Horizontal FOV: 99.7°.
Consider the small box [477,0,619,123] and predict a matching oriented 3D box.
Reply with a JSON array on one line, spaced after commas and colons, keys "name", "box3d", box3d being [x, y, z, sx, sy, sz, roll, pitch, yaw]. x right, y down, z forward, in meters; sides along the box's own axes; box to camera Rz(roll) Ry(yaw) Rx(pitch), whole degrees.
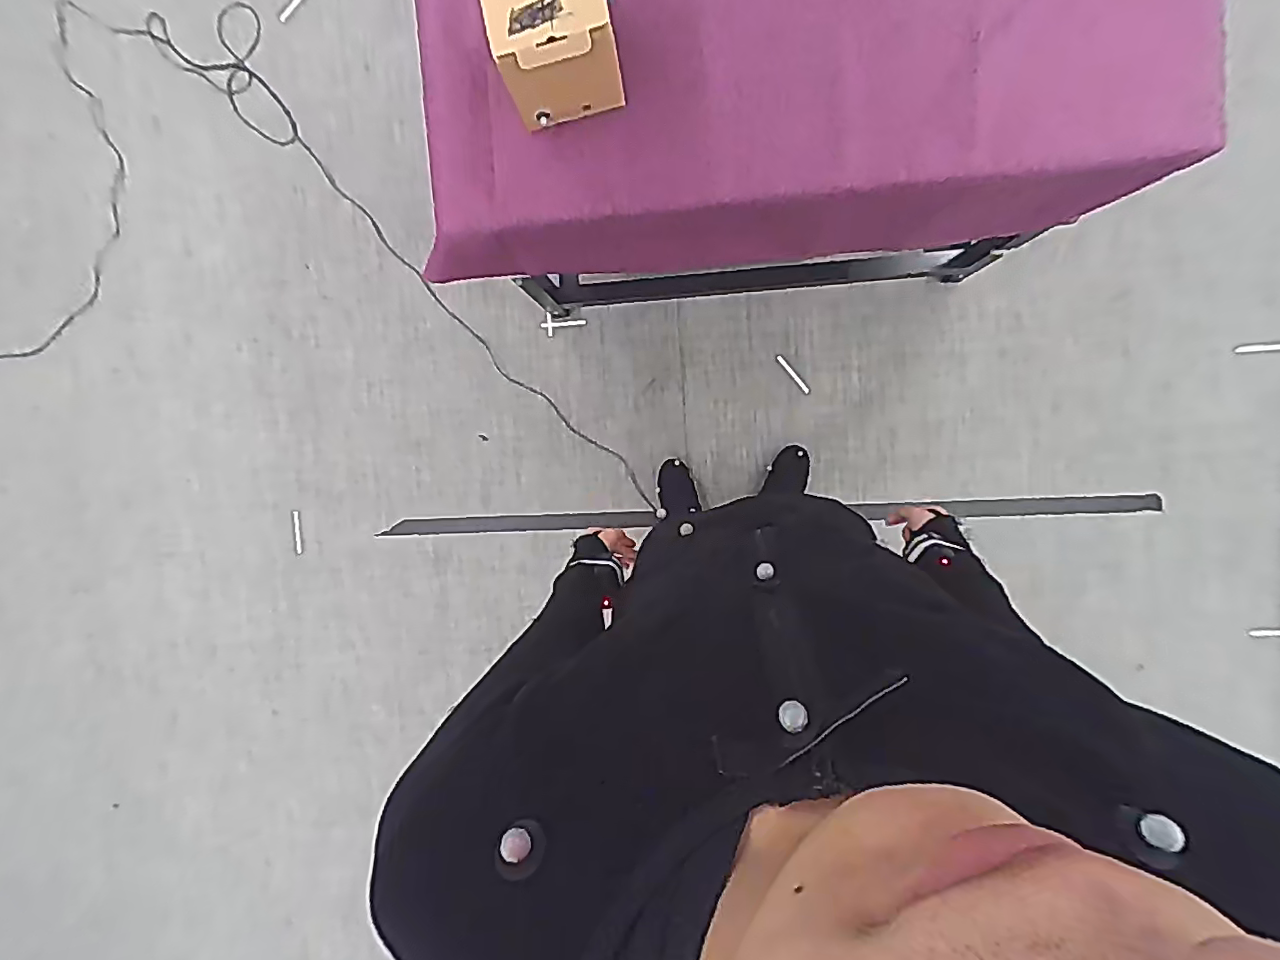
[{"name": "small box", "box3d": [-0.132, -0.662, 0.792, 0.168, 0.176, 0.179, -12, 92, 5]}]
